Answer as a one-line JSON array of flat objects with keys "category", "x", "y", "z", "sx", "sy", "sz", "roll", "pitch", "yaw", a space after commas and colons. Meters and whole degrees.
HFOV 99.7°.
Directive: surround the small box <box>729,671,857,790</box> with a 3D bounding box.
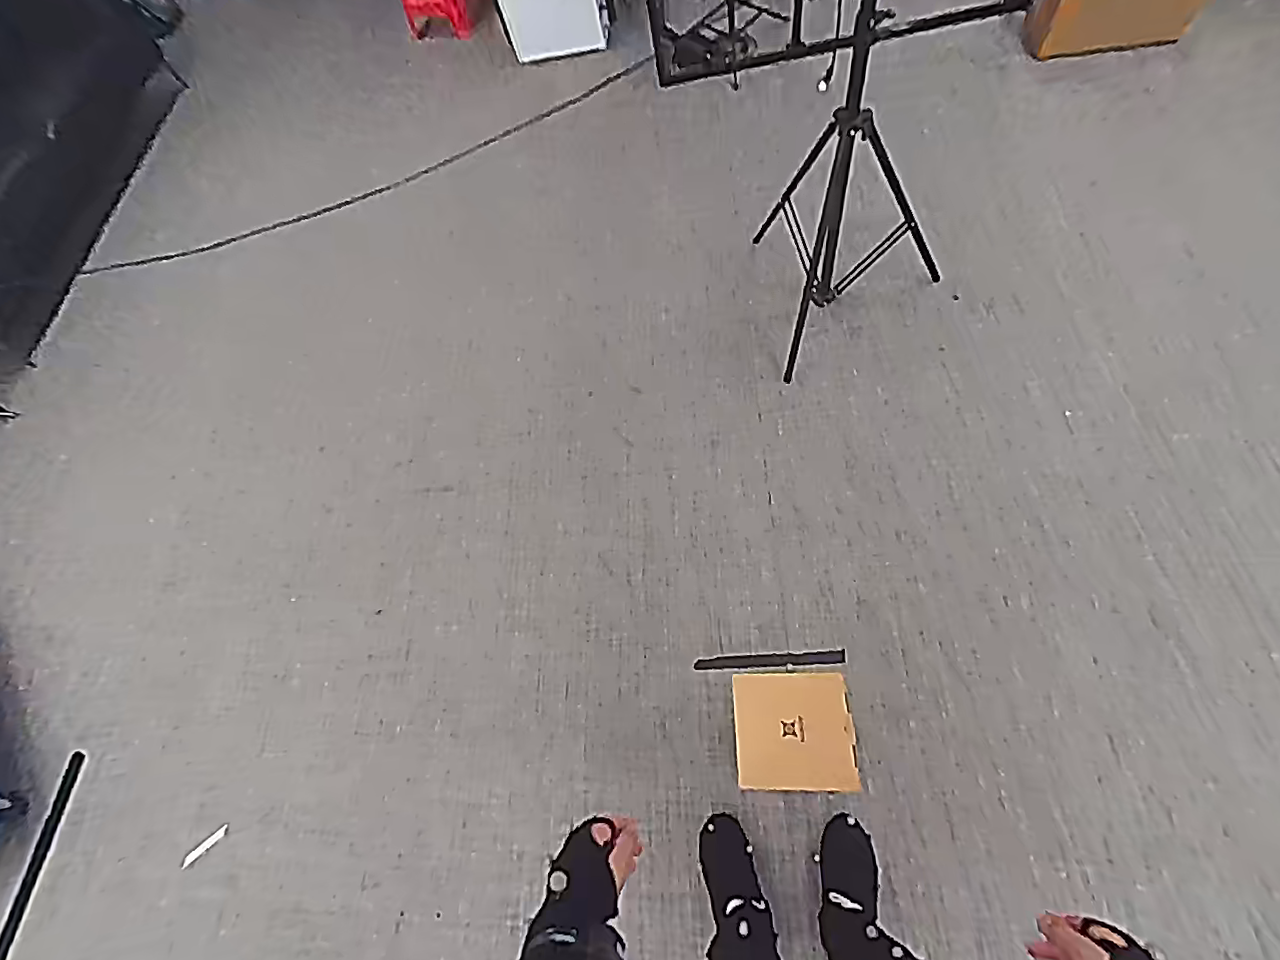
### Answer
[{"category": "small box", "x": 0.245, "y": 0.413, "z": 0.896, "sx": 0.179, "sy": 0.176, "sz": 0.168, "roll": -5, "pitch": 64, "yaw": 10}]
